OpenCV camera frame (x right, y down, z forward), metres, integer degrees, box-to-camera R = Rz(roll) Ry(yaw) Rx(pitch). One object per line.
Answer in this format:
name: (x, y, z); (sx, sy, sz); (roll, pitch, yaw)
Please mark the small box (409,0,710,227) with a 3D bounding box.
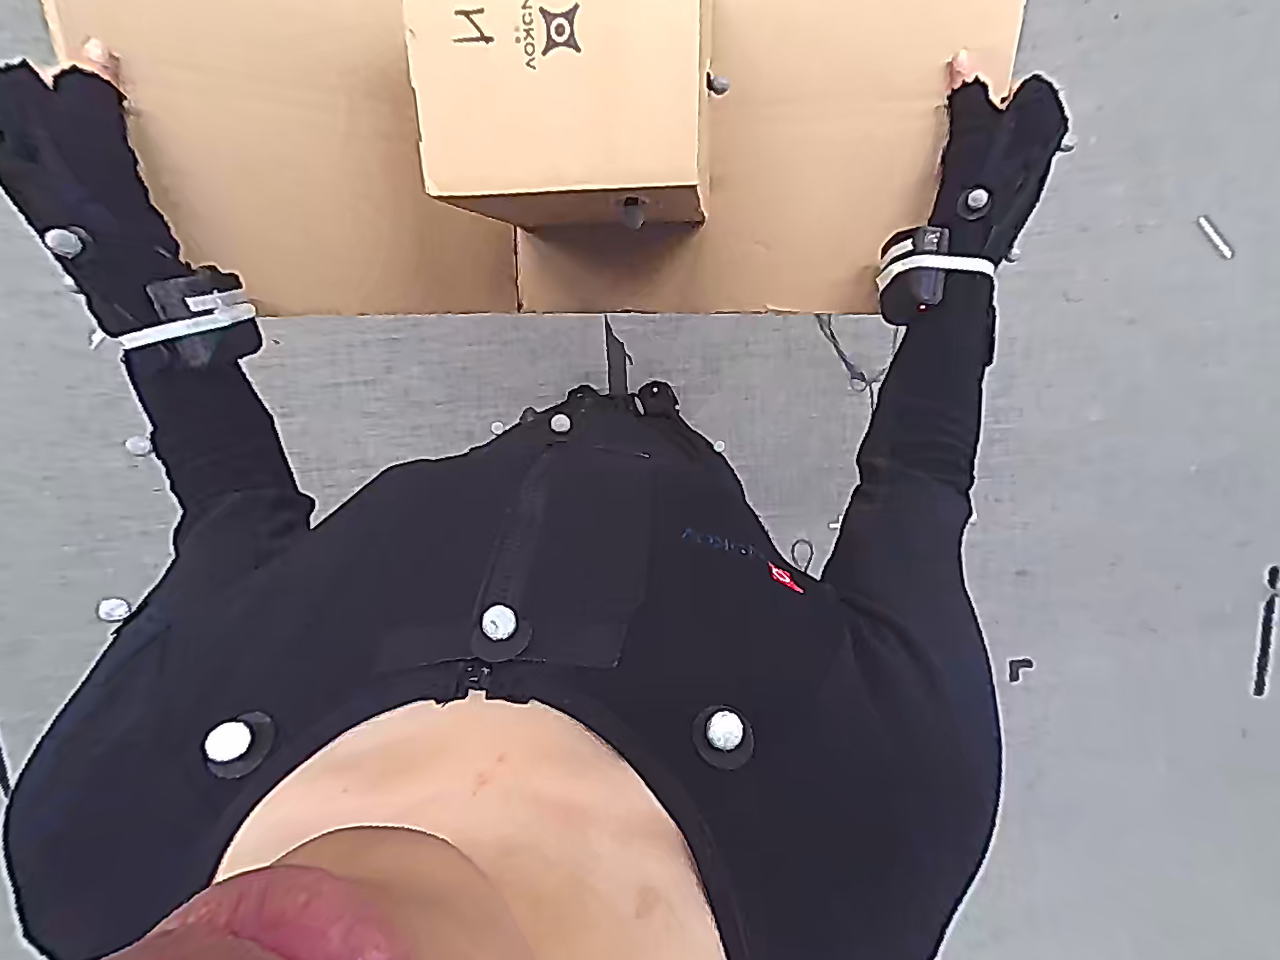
small box: (-0.041, -0.285, 0.392); (0.179, 0.176, 0.168); (3, 109, 9)
